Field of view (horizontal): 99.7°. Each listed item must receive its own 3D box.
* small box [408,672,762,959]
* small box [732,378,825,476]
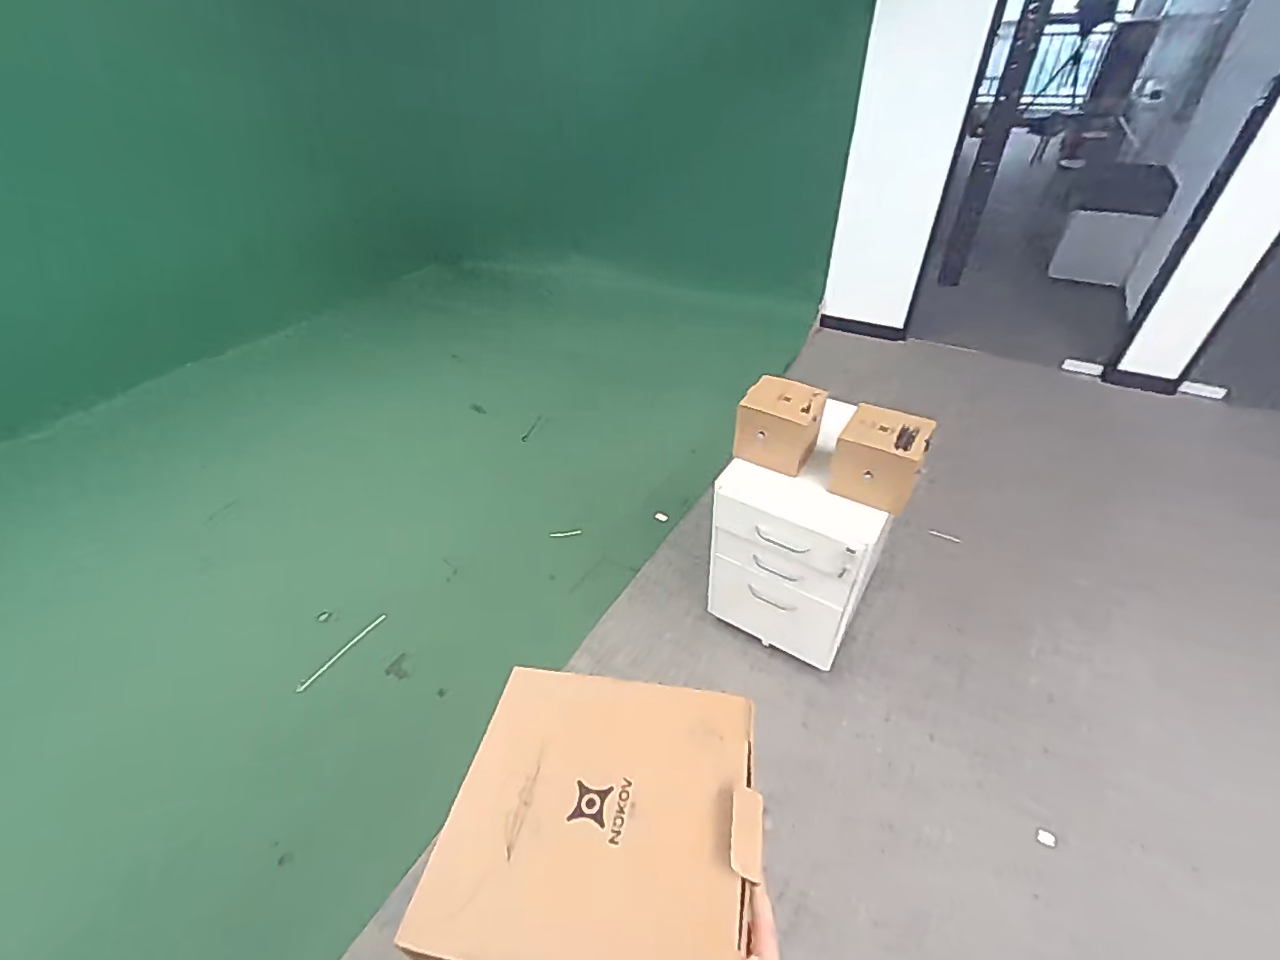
[{"bbox_3d":[-0.012,0.260,0.367,0.179,0.176,0.168,2,36,13],"label":"small box"},{"bbox_3d":[0.350,-0.135,1.390,0.179,0.176,0.168,22,48,25],"label":"small box"}]
